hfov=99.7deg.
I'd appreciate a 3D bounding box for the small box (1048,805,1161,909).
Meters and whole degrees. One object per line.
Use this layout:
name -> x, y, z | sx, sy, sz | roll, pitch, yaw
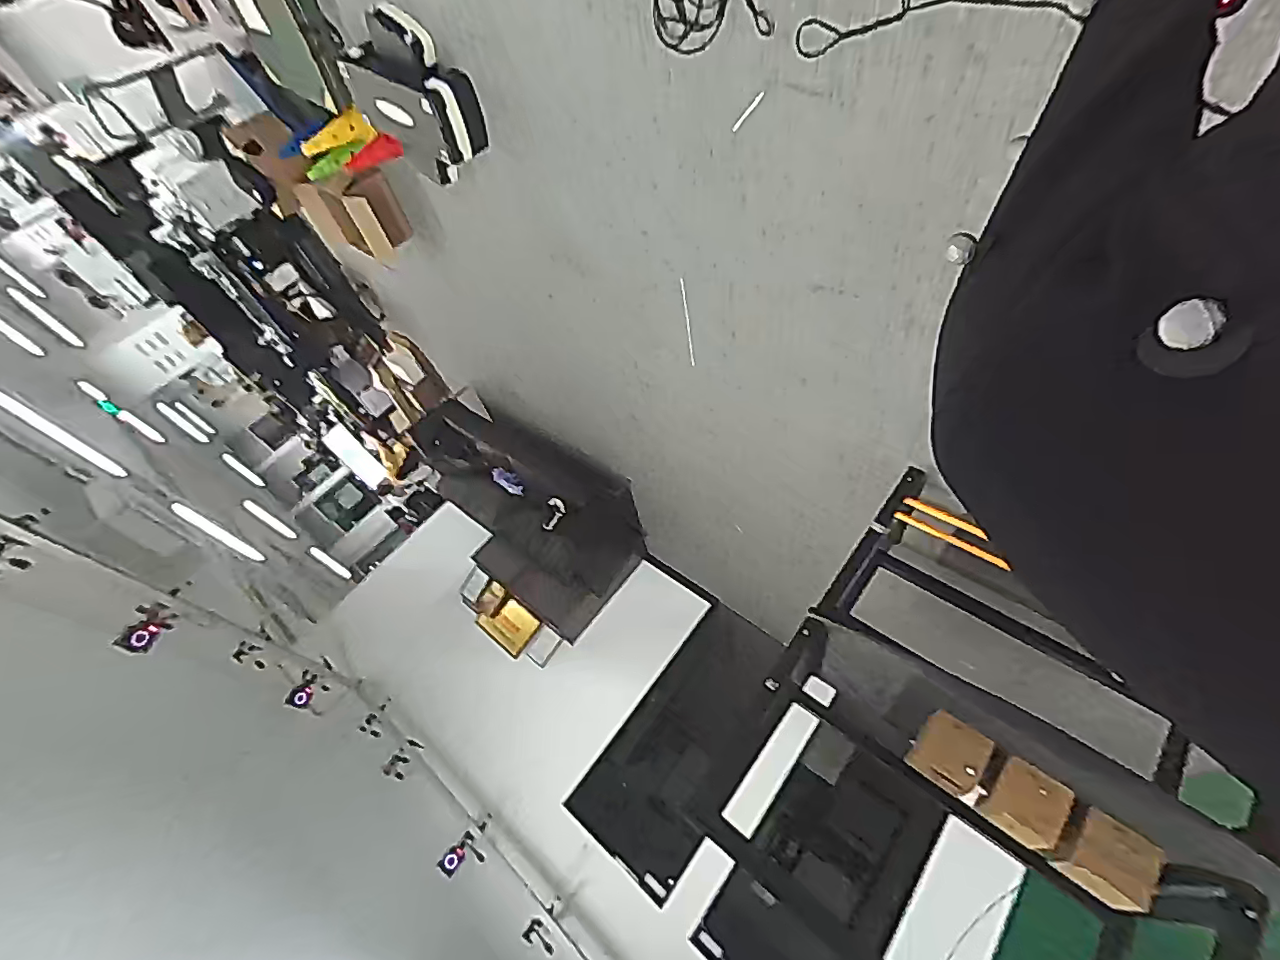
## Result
small box -> 1.282, 1.034, 1.495 | 0.168, 0.176, 0.179 | 29, 156, 29
